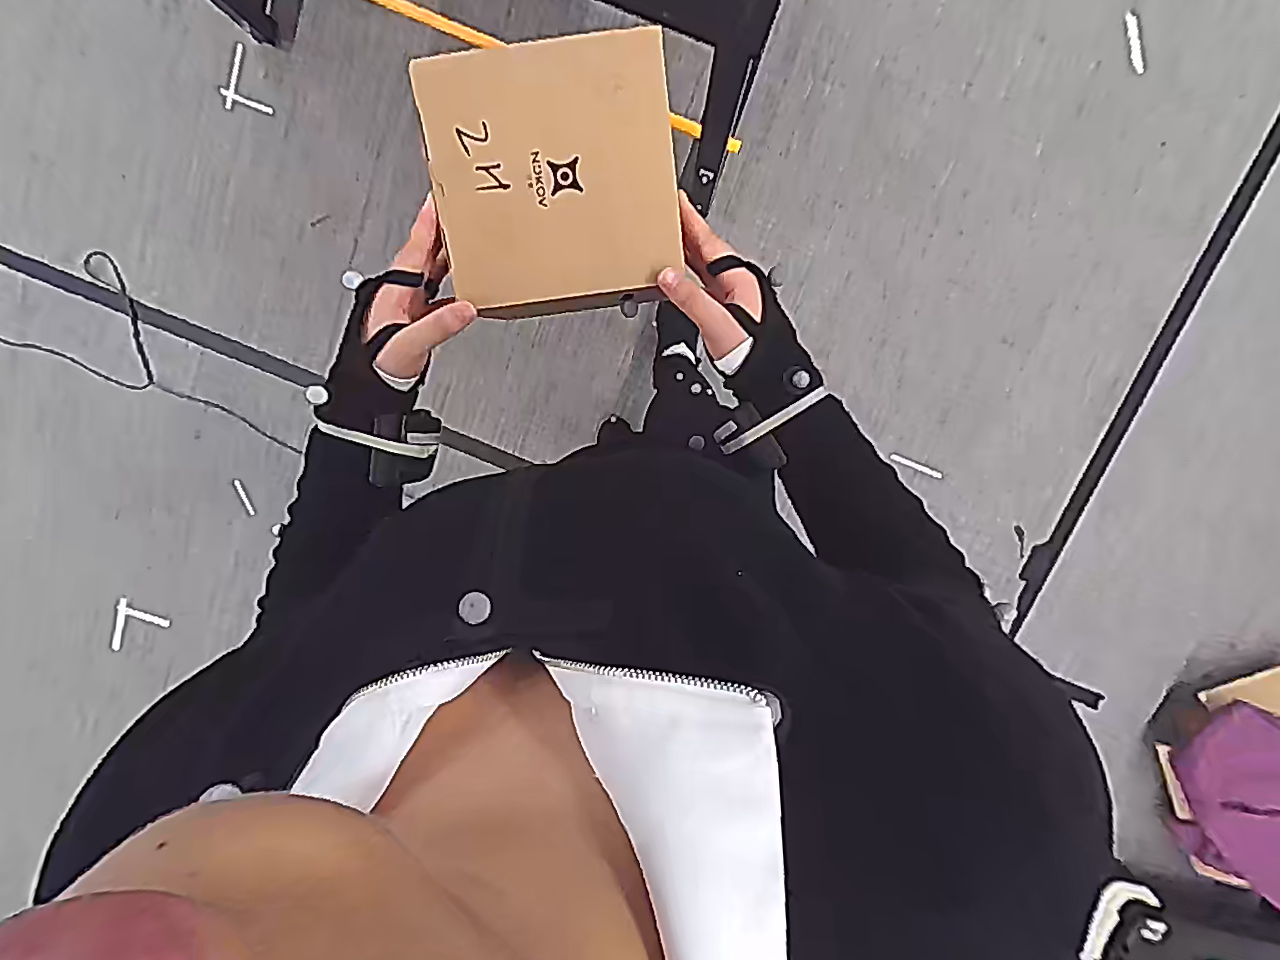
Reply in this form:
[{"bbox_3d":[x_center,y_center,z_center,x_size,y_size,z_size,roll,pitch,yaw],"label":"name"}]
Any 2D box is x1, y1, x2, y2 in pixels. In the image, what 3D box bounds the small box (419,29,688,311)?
[{"bbox_3d":[-0.060,-0.242,0.467,0.179,0.176,0.168,-7,104,1],"label":"small box"}]
